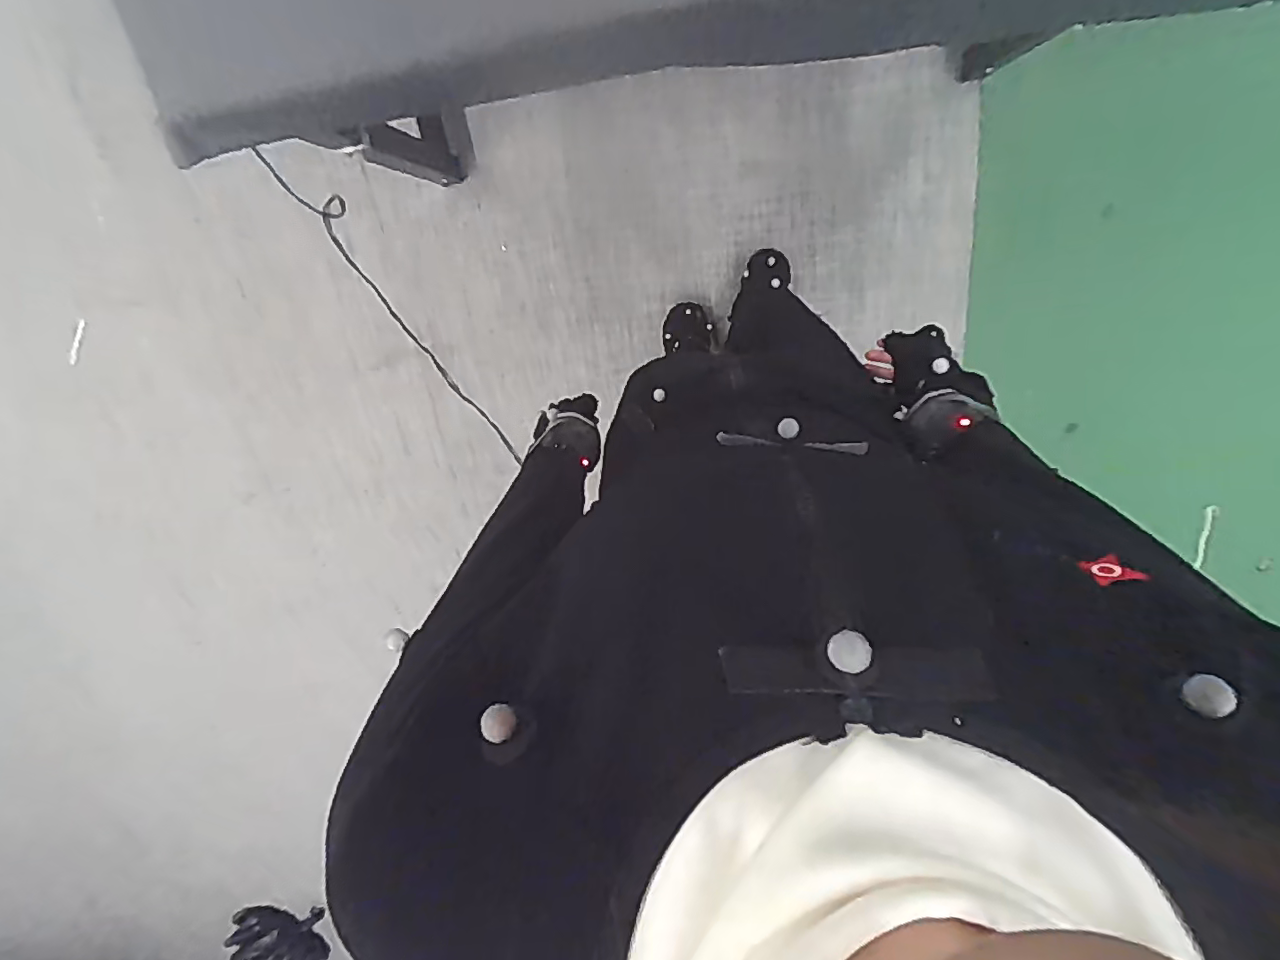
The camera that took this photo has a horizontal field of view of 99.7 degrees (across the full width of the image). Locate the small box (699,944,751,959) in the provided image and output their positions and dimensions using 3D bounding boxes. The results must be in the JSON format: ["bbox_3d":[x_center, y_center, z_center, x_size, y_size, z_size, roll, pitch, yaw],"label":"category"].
[{"bbox_3d":[0.289,1.677,1.785,0.179,0.176,0.168,-8,107,7],"label":"small box"}]
